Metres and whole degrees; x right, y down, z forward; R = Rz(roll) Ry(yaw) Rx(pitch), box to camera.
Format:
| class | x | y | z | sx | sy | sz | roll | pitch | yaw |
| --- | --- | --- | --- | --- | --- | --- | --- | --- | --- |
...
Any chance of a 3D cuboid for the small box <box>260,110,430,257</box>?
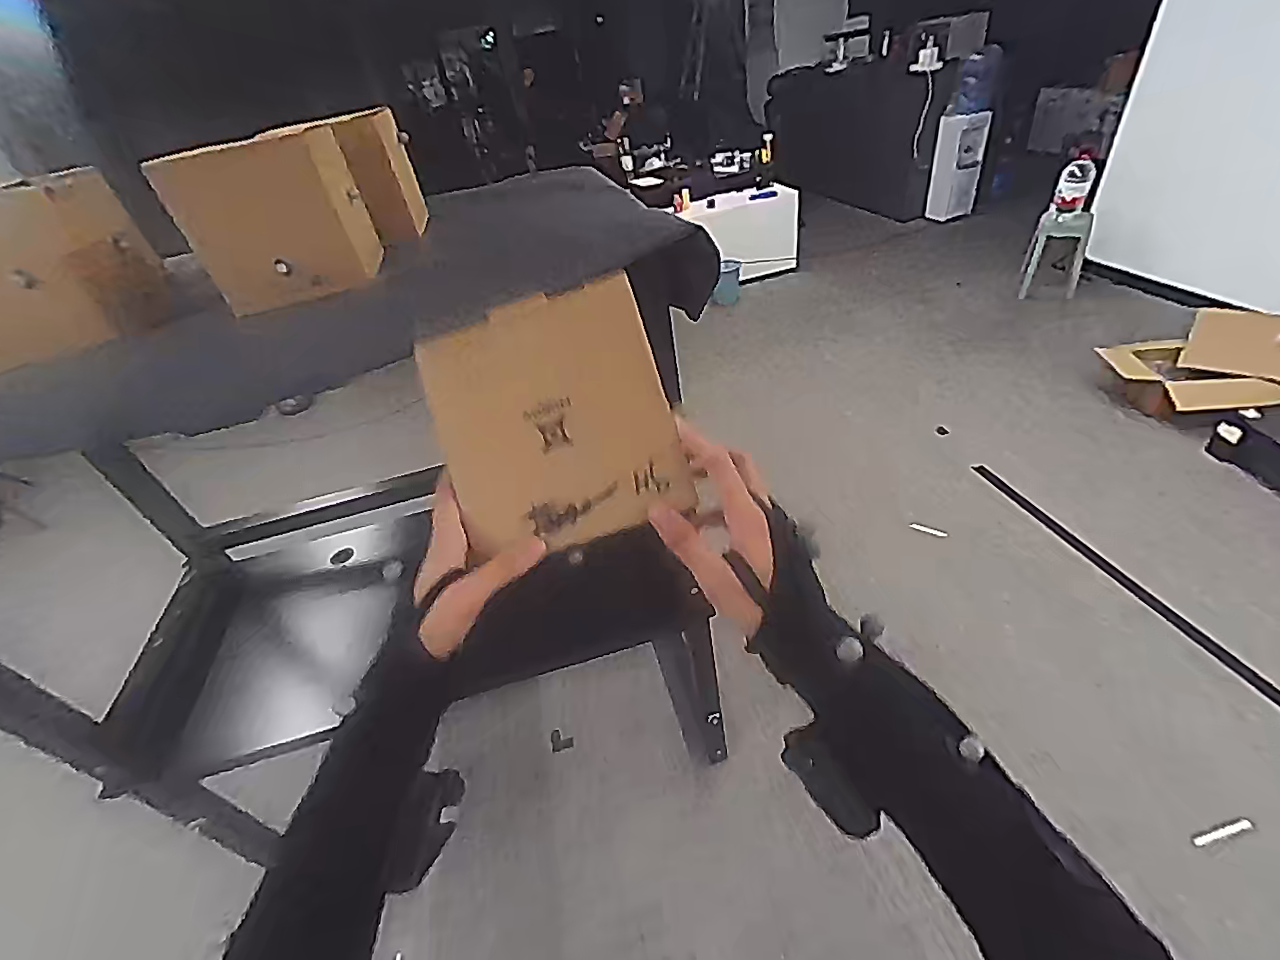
| class | x | y | z | sx | sy | sz | roll | pitch | yaw |
| --- | --- | --- | --- | --- | --- | --- | --- | --- | --- |
| small box | -0.450 | -0.472 | 0.861 | 0.168 | 0.176 | 0.179 | -16 | 39 | -5 |

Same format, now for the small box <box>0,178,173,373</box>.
| class | x | y | z | sx | sy | sz | roll | pitch | yaw |
| --- | --- | --- | --- | --- | --- | --- | --- | --- | --- |
| small box | -0.727 | -0.246 | 0.650 | 0.179 | 0.176 | 0.168 | -16 | 36 | -9 |

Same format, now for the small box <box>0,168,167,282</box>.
| class | x | y | z | sx | sy | sz | roll | pitch | yaw |
| --- | --- | --- | --- | --- | --- | --- | --- | --- | --- |
| small box | -0.879 | -0.349 | 0.815 | 0.168 | 0.176 | 0.179 | -15 | 38 | -5 |
